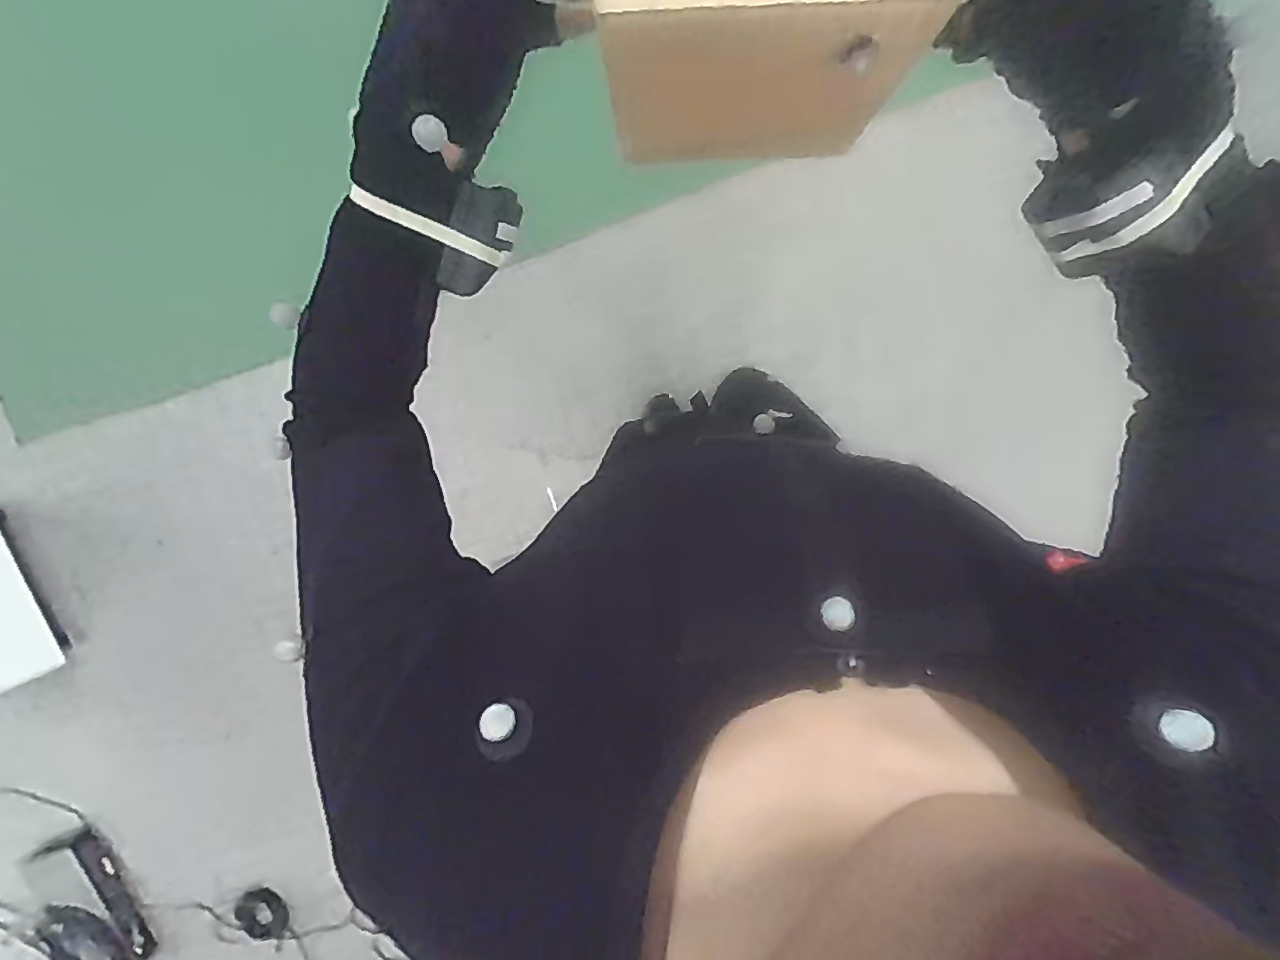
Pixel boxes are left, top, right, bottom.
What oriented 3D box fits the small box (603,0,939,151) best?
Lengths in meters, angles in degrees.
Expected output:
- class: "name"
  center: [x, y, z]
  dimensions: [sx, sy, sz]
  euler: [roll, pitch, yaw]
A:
- class: "small box"
  center: [0.068, -0.323, 0.328]
  dimensions: [0.179, 0.176, 0.168]
  euler: [-2, 99, 1]
